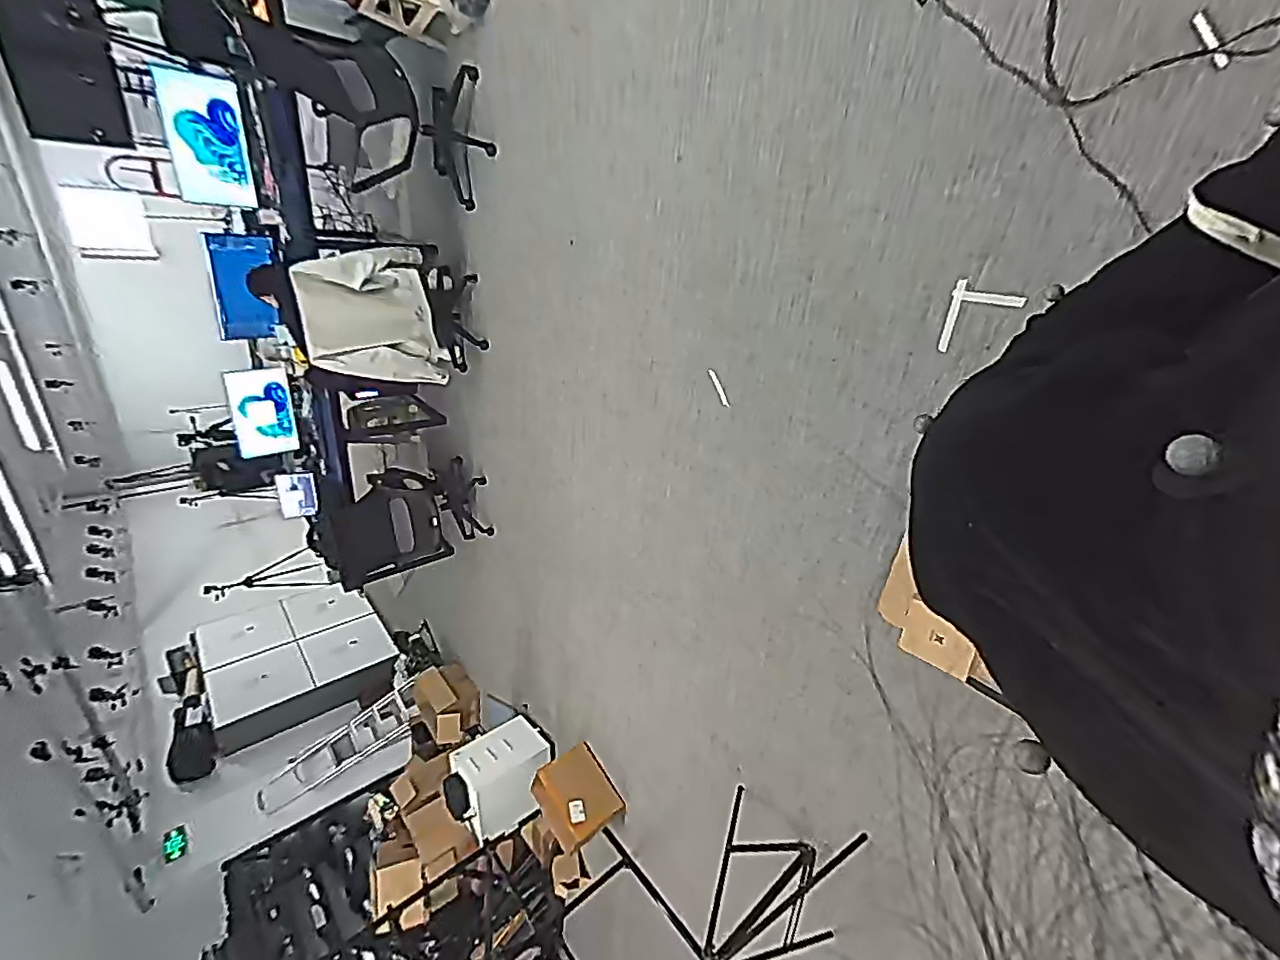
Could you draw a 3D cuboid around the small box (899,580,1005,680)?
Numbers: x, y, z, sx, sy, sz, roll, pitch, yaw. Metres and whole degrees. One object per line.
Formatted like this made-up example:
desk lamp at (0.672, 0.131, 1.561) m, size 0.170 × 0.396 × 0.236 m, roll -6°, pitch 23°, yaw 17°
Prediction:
small box at (0.820, 0.383, 1.423) m, size 0.179 × 0.176 × 0.168 m, roll 24°, pitch 122°, yaw 43°
